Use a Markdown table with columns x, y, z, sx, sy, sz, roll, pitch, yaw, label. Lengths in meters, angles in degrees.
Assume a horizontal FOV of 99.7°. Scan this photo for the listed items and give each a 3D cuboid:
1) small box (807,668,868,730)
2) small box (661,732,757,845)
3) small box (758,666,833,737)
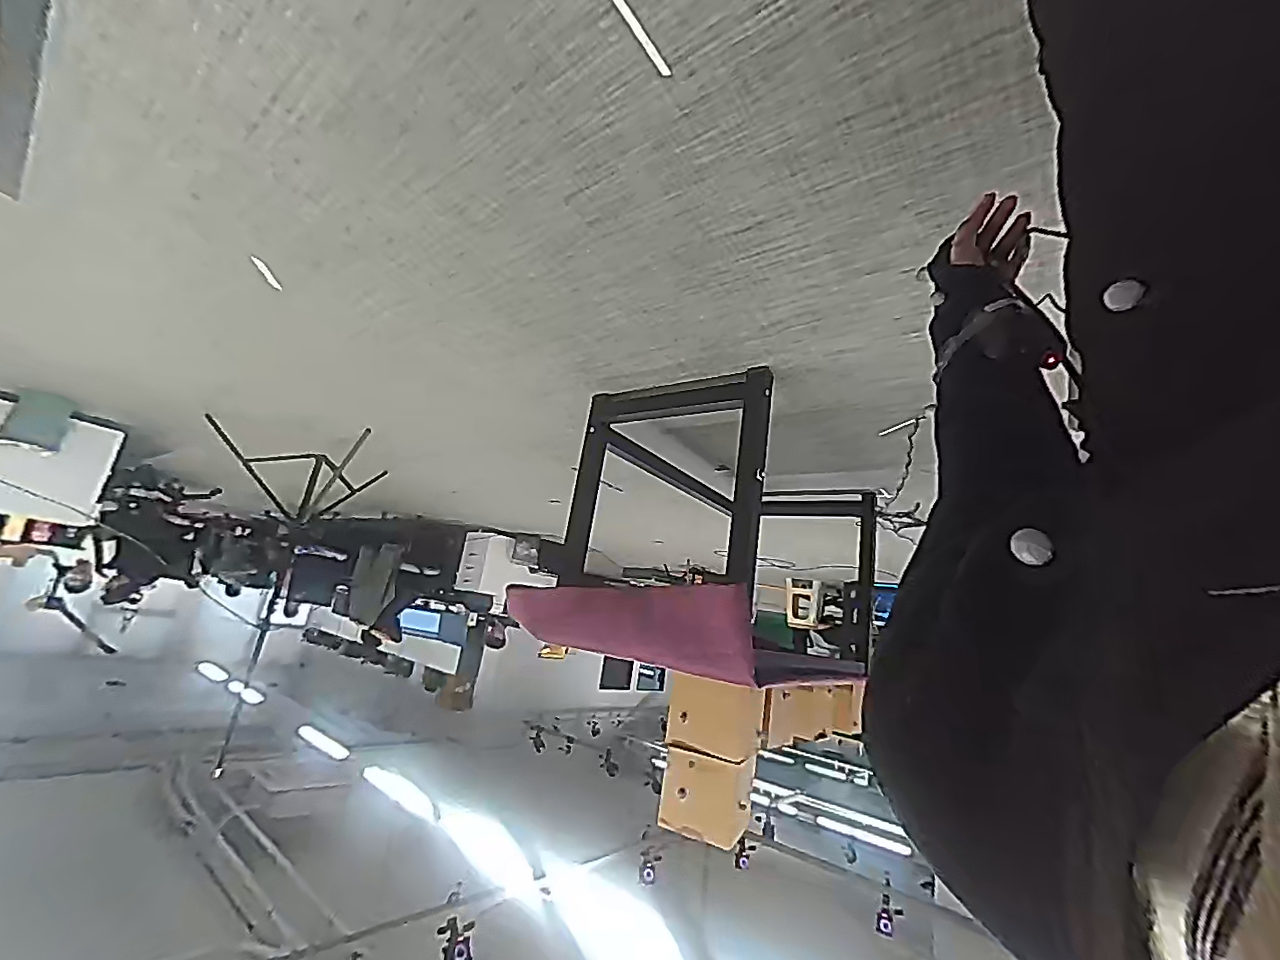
| x | y | z | sx | sy | sz | roll | pitch | yaw | label |
| --- | --- | --- | --- | --- | --- | --- | --- | --- | --- |
| 0.690 | 0.762 | 1.896 | 0.168 | 0.176 | 0.179 | -3 | 161 | 39 | small box |
| 0.163 | 0.689 | 1.232 | 0.168 | 0.176 | 0.179 | 4 | 167 | 26 | small box |
| 0.481 | 0.674 | 1.662 | 0.179 | 0.176 | 0.168 | -3 | 162 | 40 | small box |
